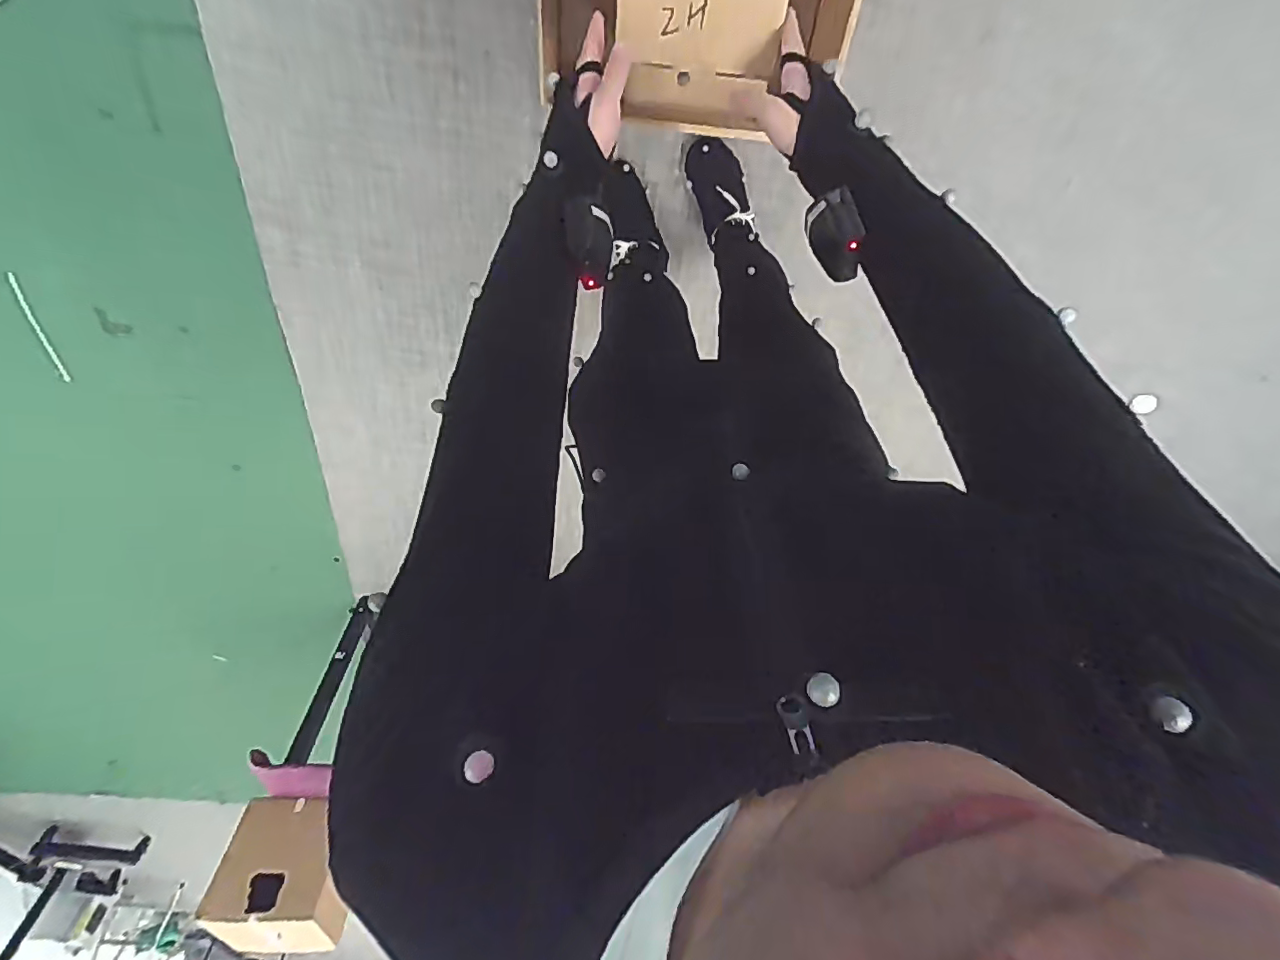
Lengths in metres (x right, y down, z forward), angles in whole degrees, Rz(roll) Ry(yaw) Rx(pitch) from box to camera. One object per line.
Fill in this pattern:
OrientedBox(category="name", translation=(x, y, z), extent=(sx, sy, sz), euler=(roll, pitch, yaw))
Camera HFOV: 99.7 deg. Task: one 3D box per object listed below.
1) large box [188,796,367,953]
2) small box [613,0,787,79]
OrientedBox(category="large box", translation=(-1.102, 1.247, 1.709), extent=(0.320, 0.320, 0.408), euler=(6, 129, -8))
OrientedBox(category="small box", translation=(0.061, -0.533, 0.556), extent=(0.168, 0.176, 0.179), euler=(5, 129, -4))
